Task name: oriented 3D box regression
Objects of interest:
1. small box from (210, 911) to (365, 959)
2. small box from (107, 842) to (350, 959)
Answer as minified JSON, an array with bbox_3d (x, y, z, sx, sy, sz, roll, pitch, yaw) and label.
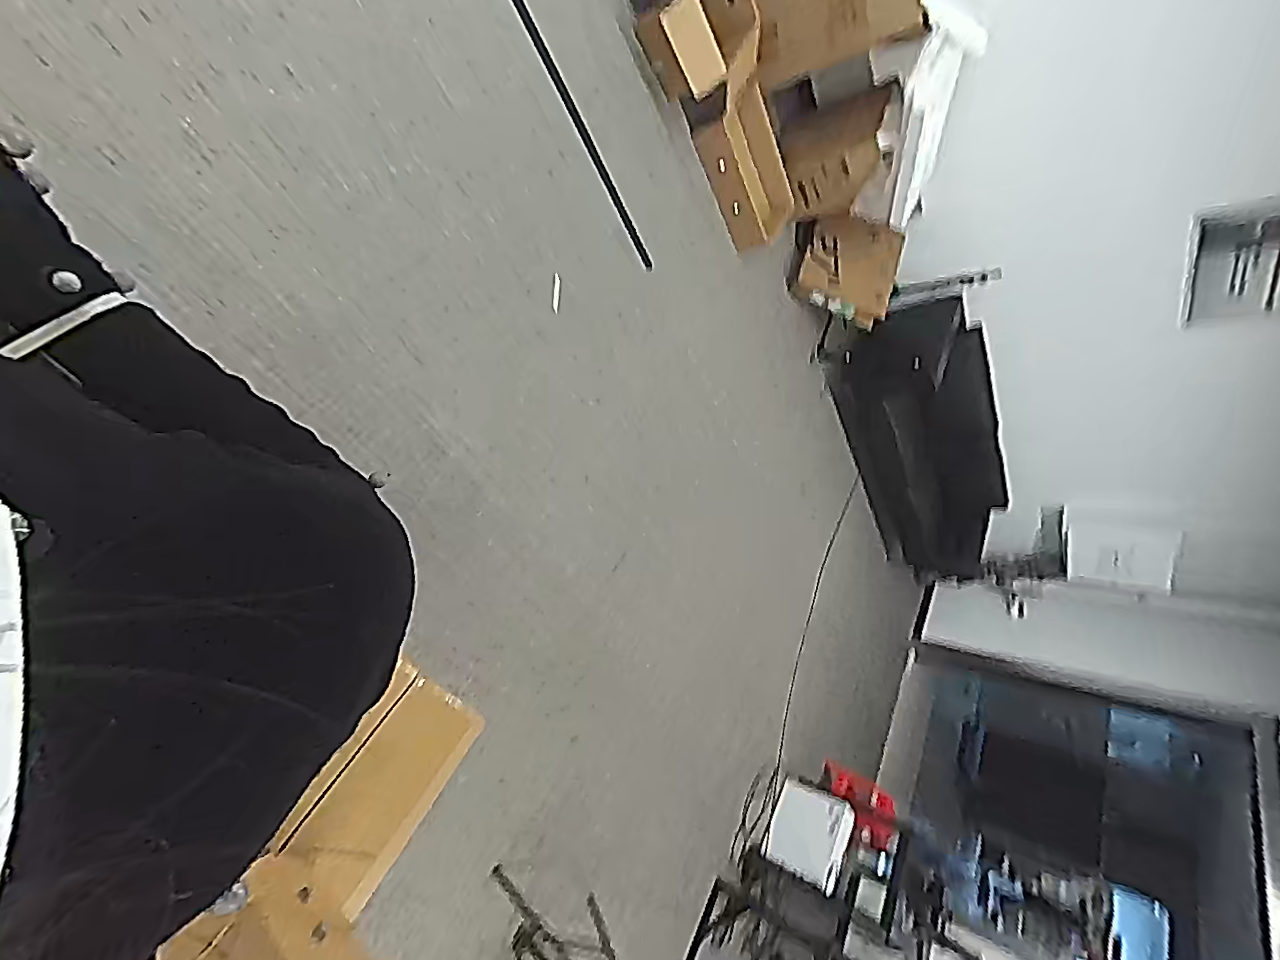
[{"bbox_3d":[-0.405,0.618,0.590,0.168,0.176,0.179,-56,129,-32],"label":"small box"},{"bbox_3d":[-0.529,0.608,0.697,0.168,0.176,0.179,-57,130,-31],"label":"small box"}]
